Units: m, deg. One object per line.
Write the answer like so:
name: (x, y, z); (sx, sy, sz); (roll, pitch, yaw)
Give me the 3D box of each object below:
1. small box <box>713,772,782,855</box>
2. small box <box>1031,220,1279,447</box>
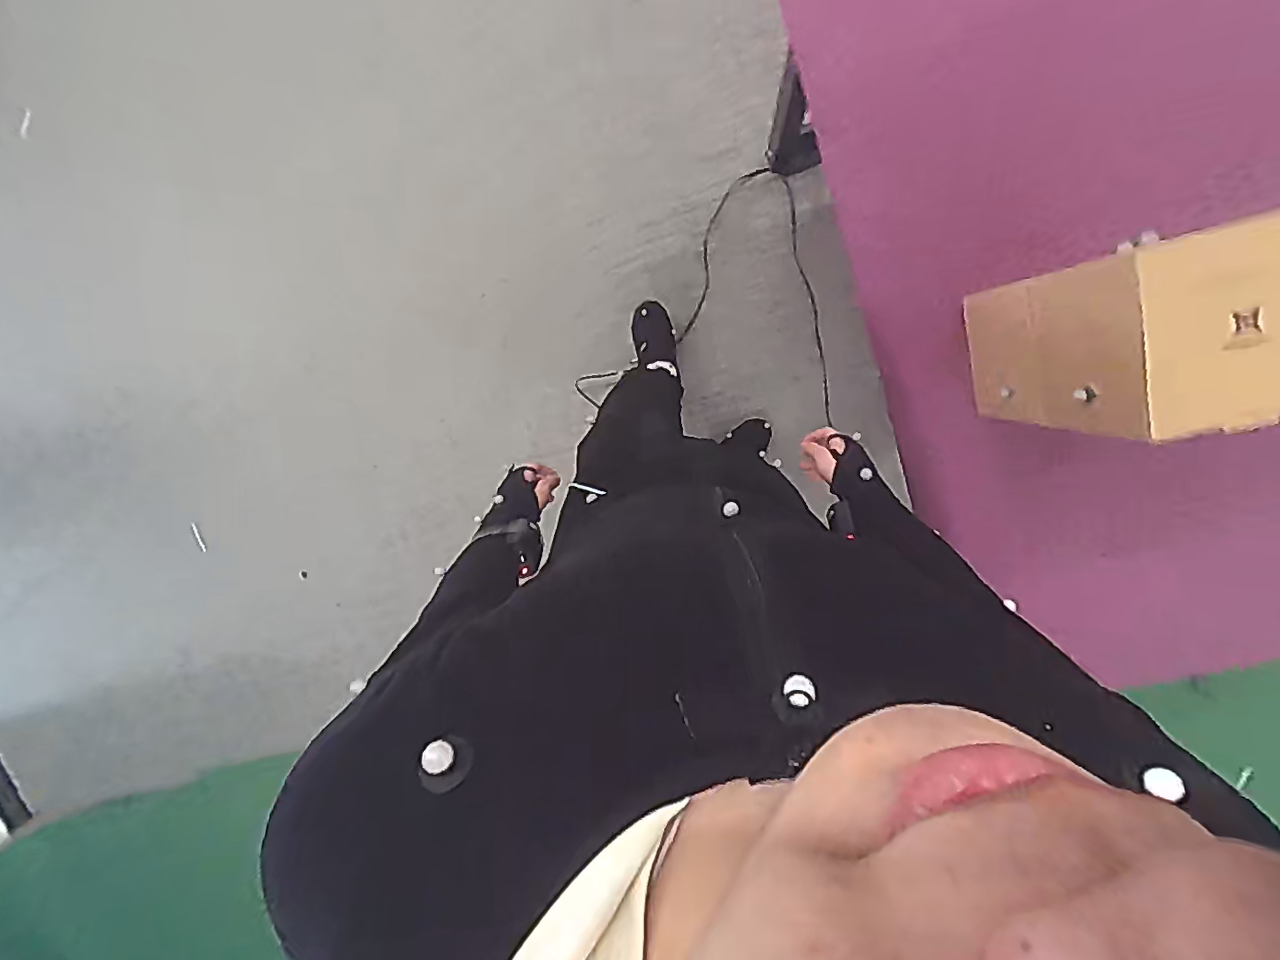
small box: (0.338, 1.060, 1.708); (0.179, 0.176, 0.168); (-15, 98, 11)
small box: (0.534, -0.144, 0.546); (0.168, 0.176, 0.179); (-12, 99, 10)
